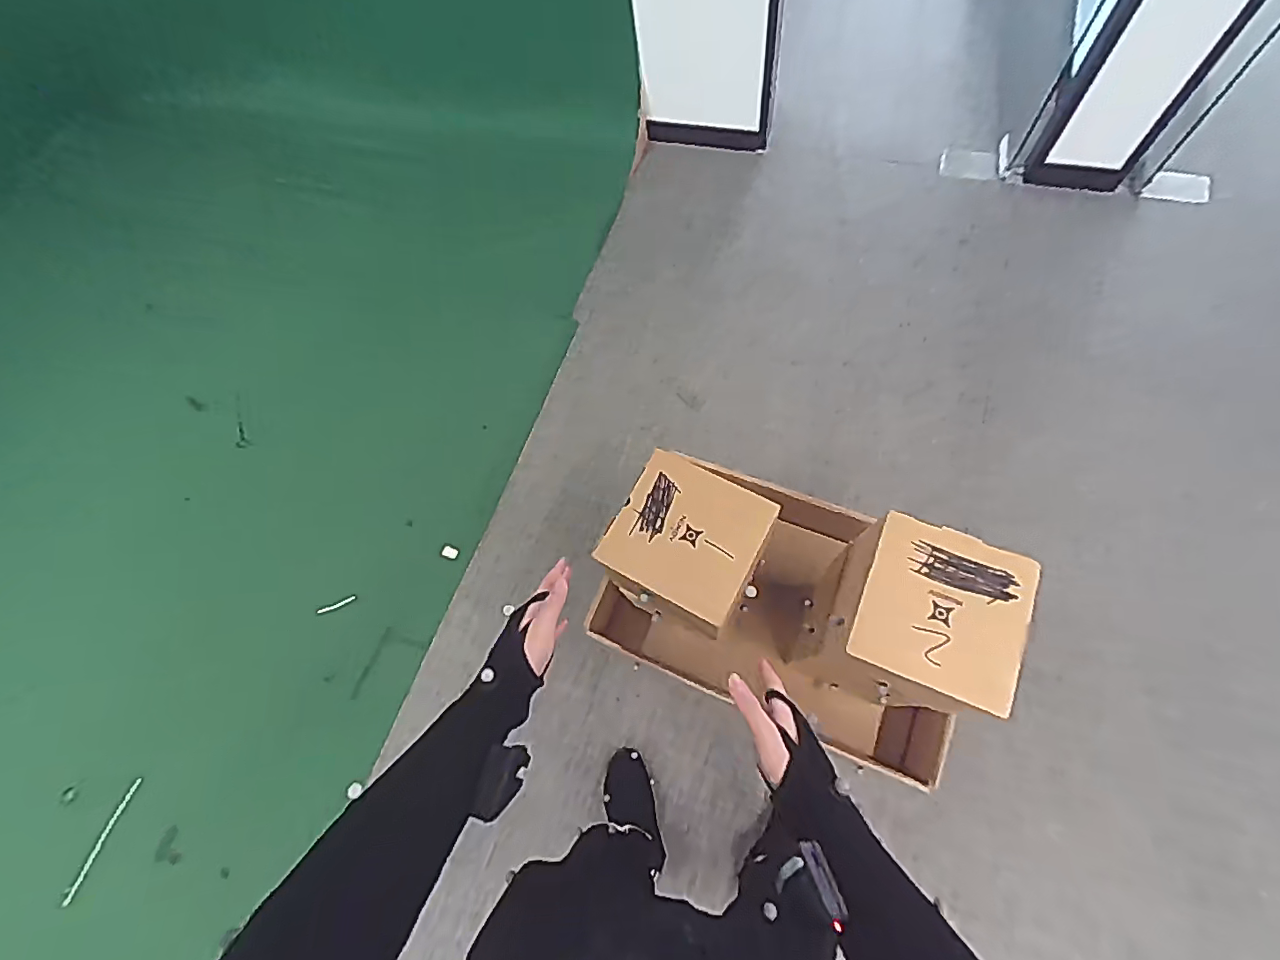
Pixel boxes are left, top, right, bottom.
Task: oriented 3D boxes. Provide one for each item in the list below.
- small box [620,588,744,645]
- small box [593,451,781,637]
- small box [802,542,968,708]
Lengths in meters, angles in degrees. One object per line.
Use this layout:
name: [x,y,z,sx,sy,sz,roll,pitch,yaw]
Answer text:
small box: [0.090,0.151,0.874,0.168,0.176,0.179,23,73,16]
small box: [0.065,0.094,0.722,0.179,0.176,0.168,26,74,17]
small box: [0.352,0.220,0.810,0.168,0.176,0.179,21,72,14]
